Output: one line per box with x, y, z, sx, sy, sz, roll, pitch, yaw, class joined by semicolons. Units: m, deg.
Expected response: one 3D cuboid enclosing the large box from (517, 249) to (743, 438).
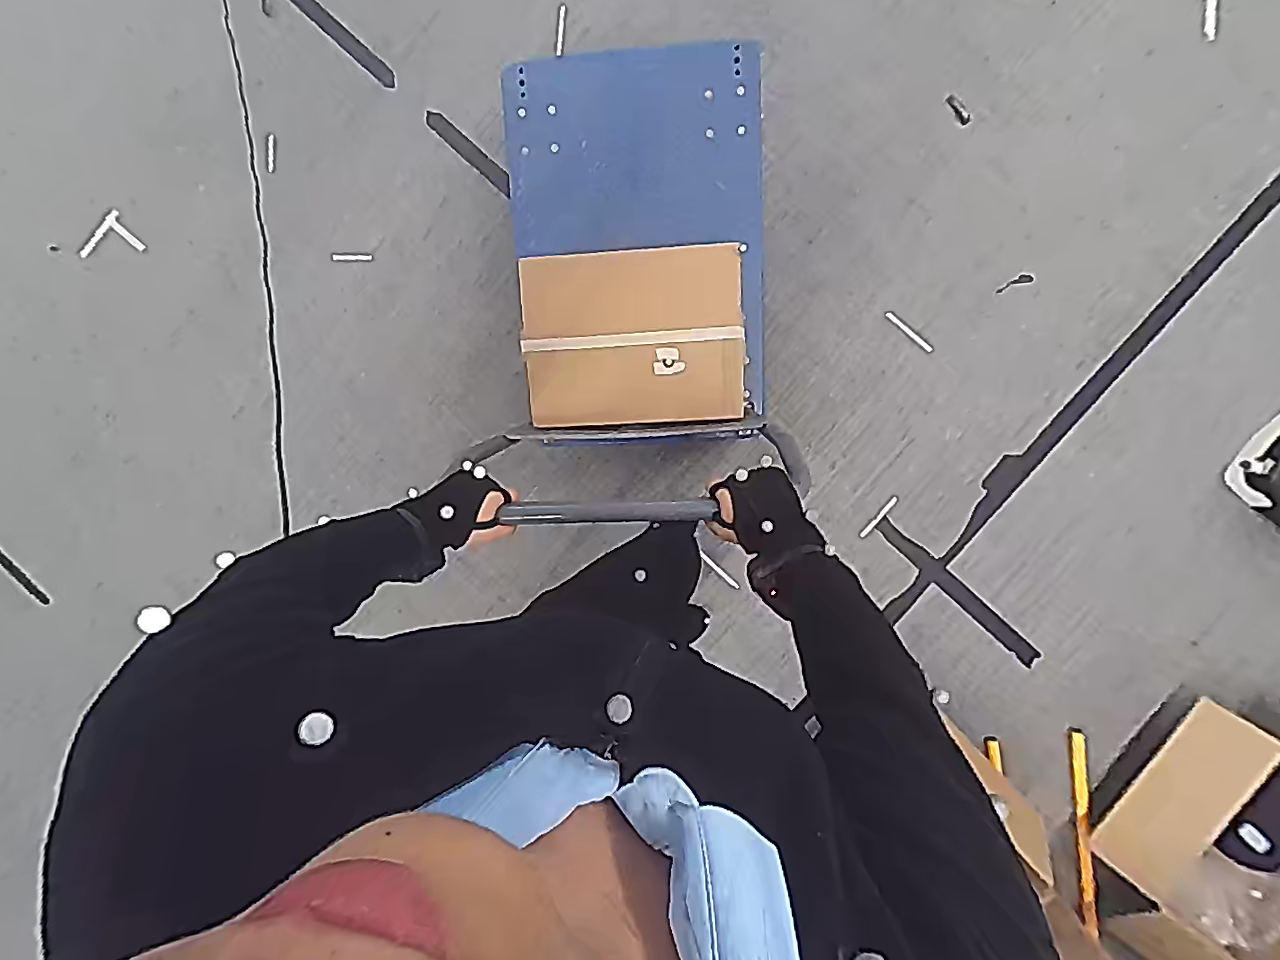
-0.009;-0.268;1.143;0.408;0.320;0.320;-3;100;4;large box
